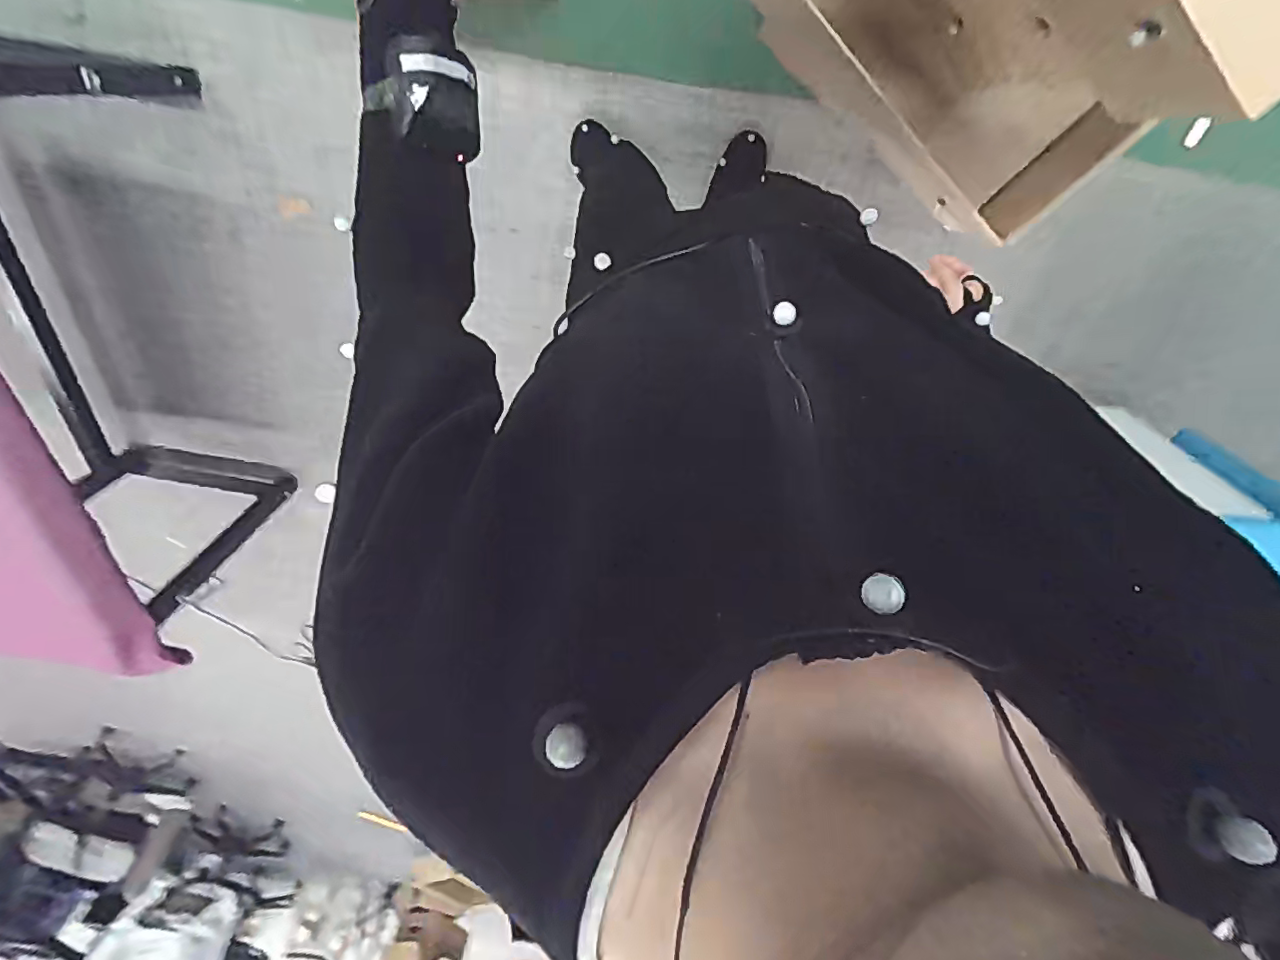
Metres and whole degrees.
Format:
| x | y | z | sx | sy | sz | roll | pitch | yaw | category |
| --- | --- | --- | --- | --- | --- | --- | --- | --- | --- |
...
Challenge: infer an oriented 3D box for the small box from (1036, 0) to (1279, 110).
| x | y | z | sx | sy | sz | roll | pitch | yaw | category |
| --- | --- | --- | --- | --- | --- | --- | --- | --- | --- |
| 0.433 | -0.402 | 0.392 | 0.179 | 0.176 | 0.168 | 38 | 120 | -16 | small box |
